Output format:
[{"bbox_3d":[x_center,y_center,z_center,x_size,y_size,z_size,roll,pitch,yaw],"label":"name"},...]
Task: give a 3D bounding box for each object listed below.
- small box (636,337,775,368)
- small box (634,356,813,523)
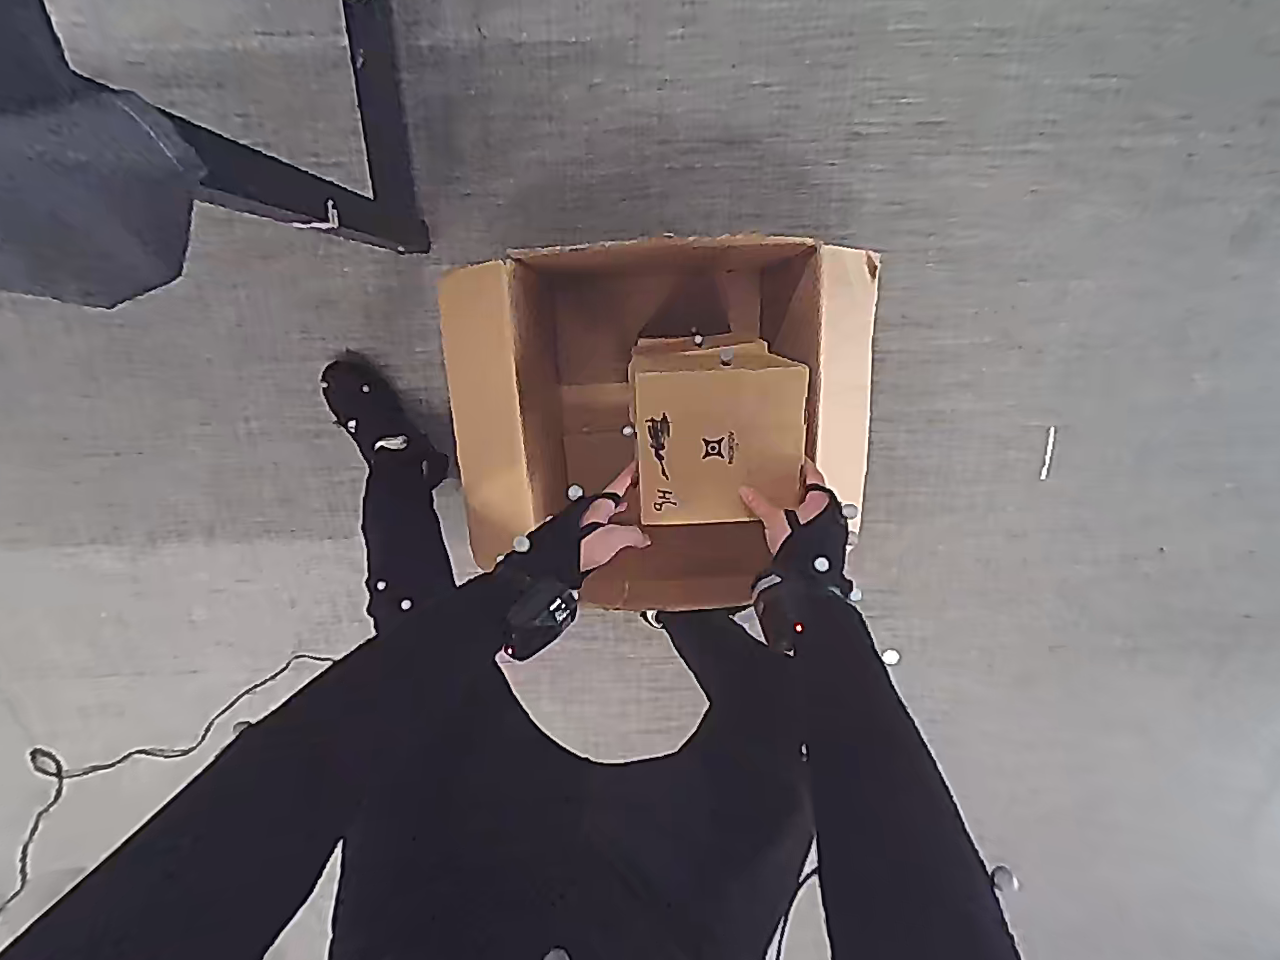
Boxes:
[{"bbox_3d":[0.090,-0.108,0.780,0.179,0.176,0.168,-7,109,2],"label":"small box"},{"bbox_3d":[0.085,-0.057,0.640,0.179,0.176,0.168,-2,107,-2],"label":"small box"}]
